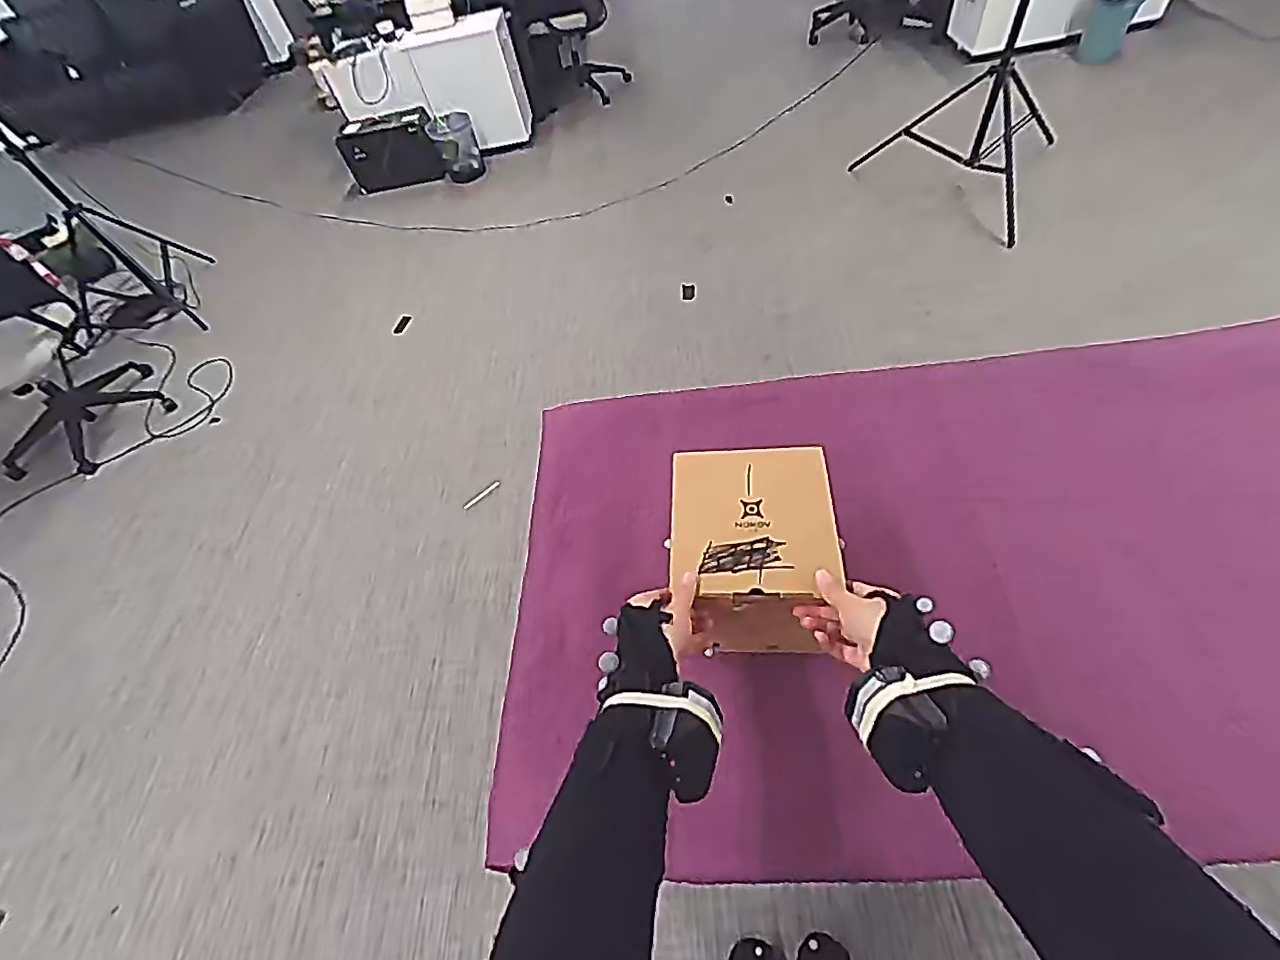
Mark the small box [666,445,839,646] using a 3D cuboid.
[{"bbox_3d":[0.124,0.082,0.622,0.168,0.176,0.179,-2,54,9],"label":"small box"}]
